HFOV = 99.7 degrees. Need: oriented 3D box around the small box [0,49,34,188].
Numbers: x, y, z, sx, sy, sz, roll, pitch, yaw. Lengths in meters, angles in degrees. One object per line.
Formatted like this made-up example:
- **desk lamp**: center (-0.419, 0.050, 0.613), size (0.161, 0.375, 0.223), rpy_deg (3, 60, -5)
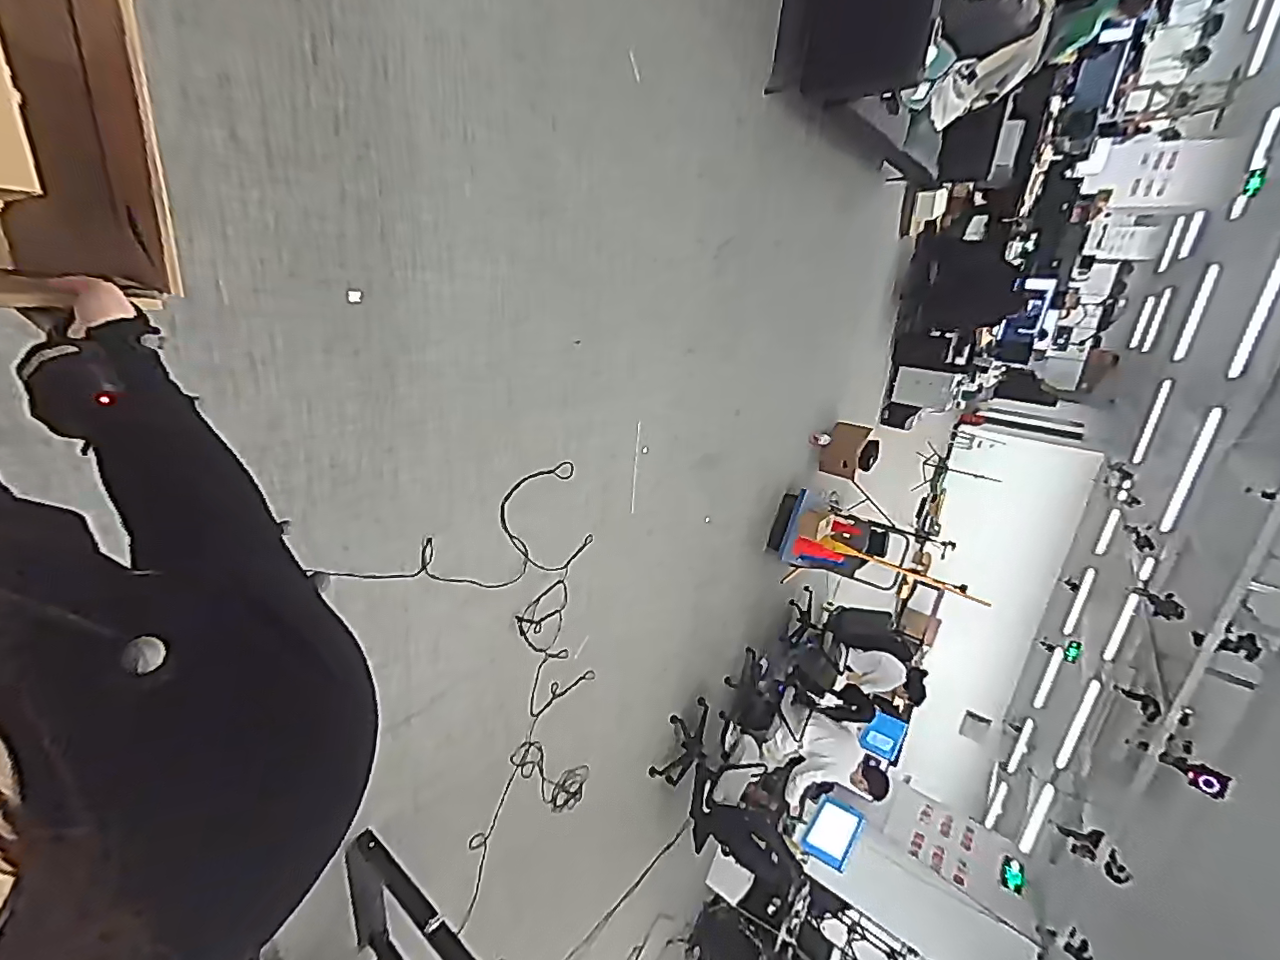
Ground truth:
- **small box**: center (-0.476, -0.254, 0.281), size (0.179, 0.176, 0.168), rpy_deg (-21, 123, -50)
